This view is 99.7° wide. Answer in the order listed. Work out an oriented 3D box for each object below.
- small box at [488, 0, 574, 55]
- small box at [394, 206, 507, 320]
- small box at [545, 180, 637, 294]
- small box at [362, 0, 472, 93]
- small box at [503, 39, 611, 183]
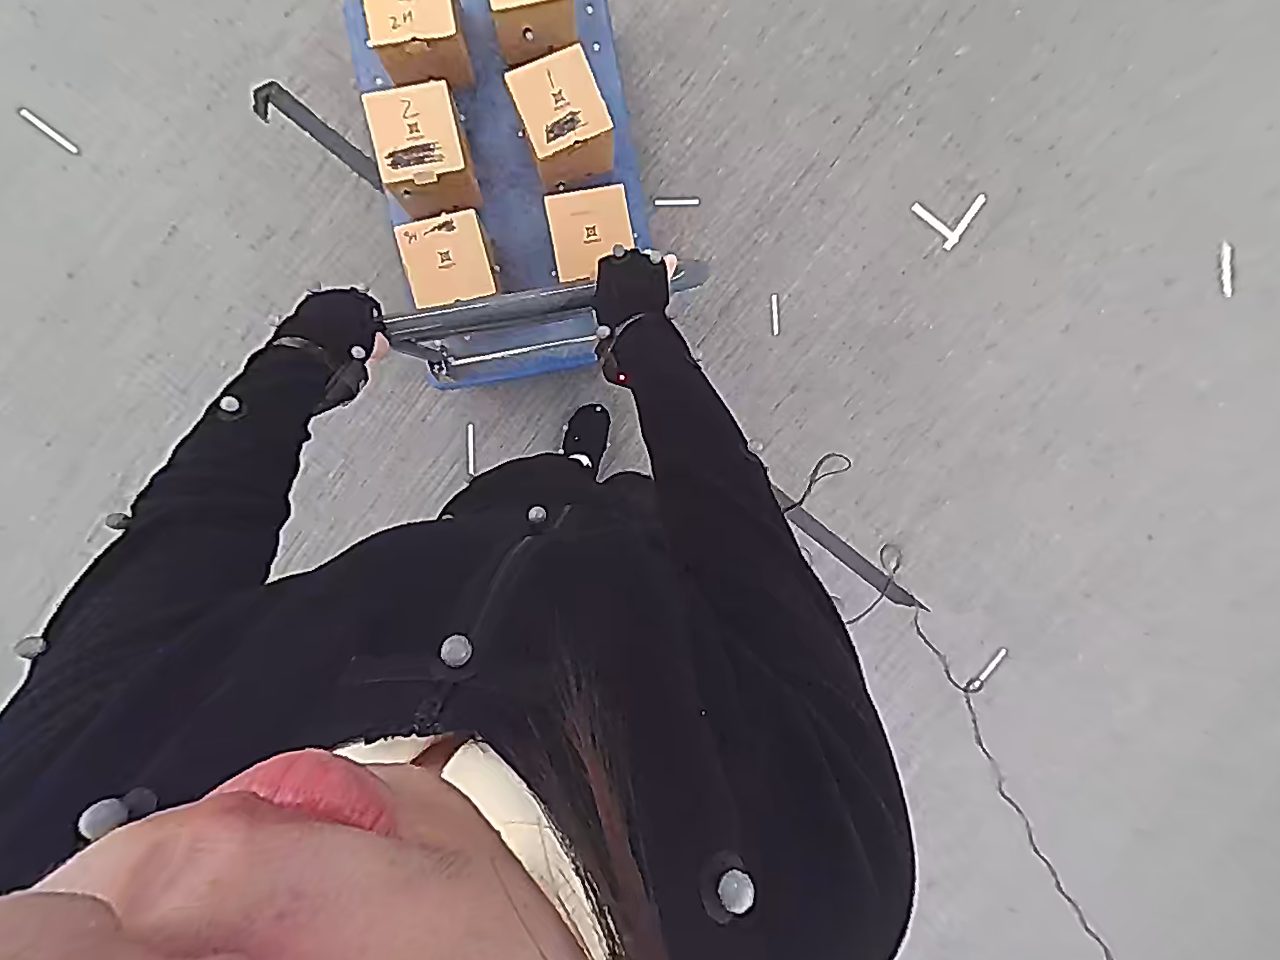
[{"bbox_3d":[-0.238,-1.028,1.122,0.168,0.176,0.179,-15,96,-2],"label":"small box"},{"bbox_3d":[-0.395,-0.453,1.161,0.168,0.176,0.179,-15,96,-4],"label":"small box"},{"bbox_3d":[-0.104,-0.518,1.180,0.168,0.176,0.179,-11,95,-4],"label":"small box"},{"bbox_3d":[-0.458,-0.946,1.112,0.168,0.176,0.179,-10,97,-3],"label":"small box"},{"bbox_3d":[-0.168,-0.767,1.151,0.168,0.176,0.179,-24,96,-2],"label":"small box"}]
